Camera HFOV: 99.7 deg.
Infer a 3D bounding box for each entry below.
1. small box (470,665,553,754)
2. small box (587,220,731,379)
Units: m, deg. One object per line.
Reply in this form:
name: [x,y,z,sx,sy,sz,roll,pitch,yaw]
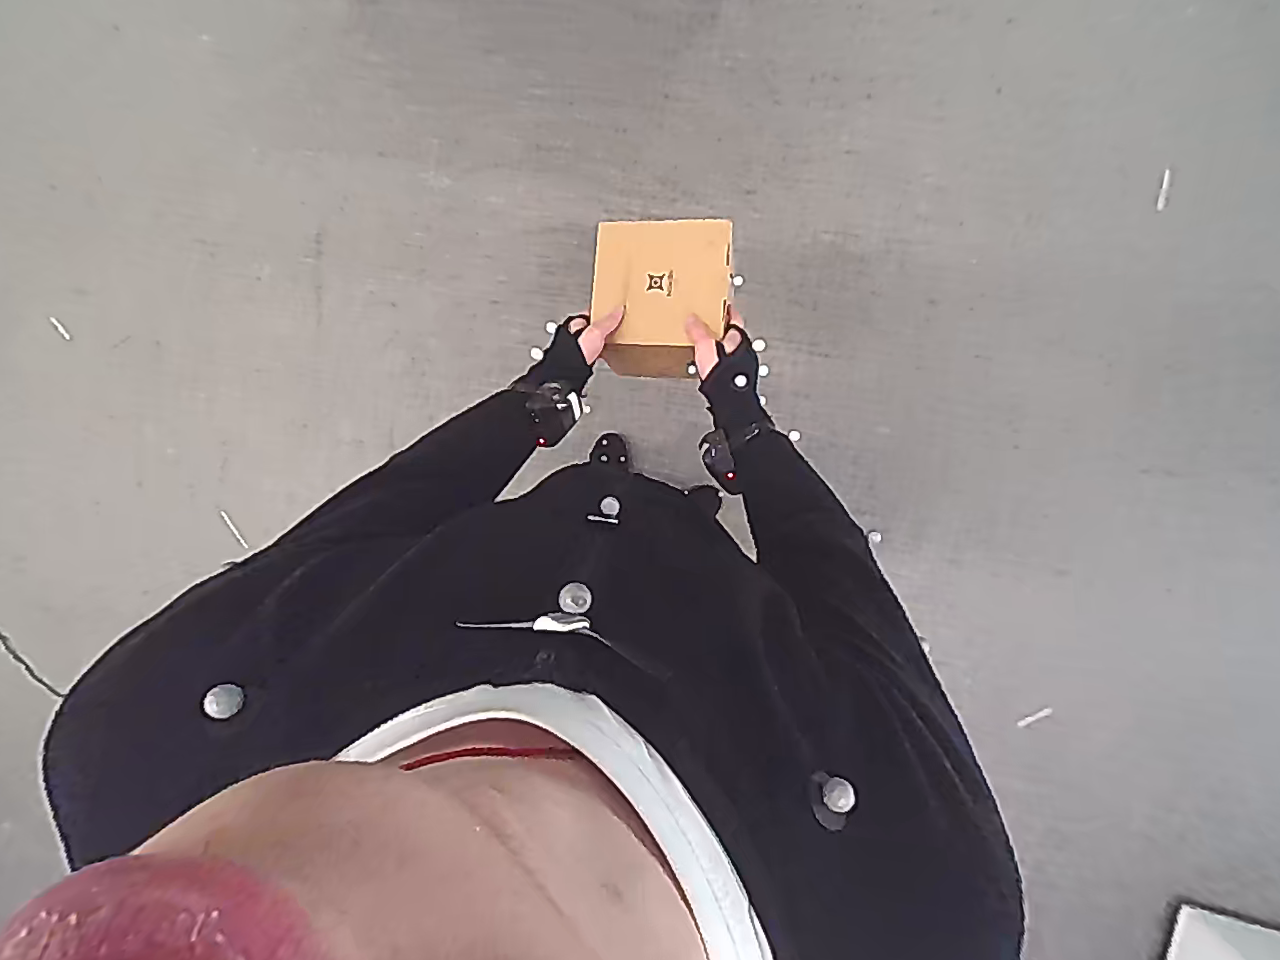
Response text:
small box: [-0.358,0.648,1.546,0.179,0.176,0.168,-13,93,5]
small box: [0.037,-0.248,0.773,0.179,0.176,0.168,4,85,12]
